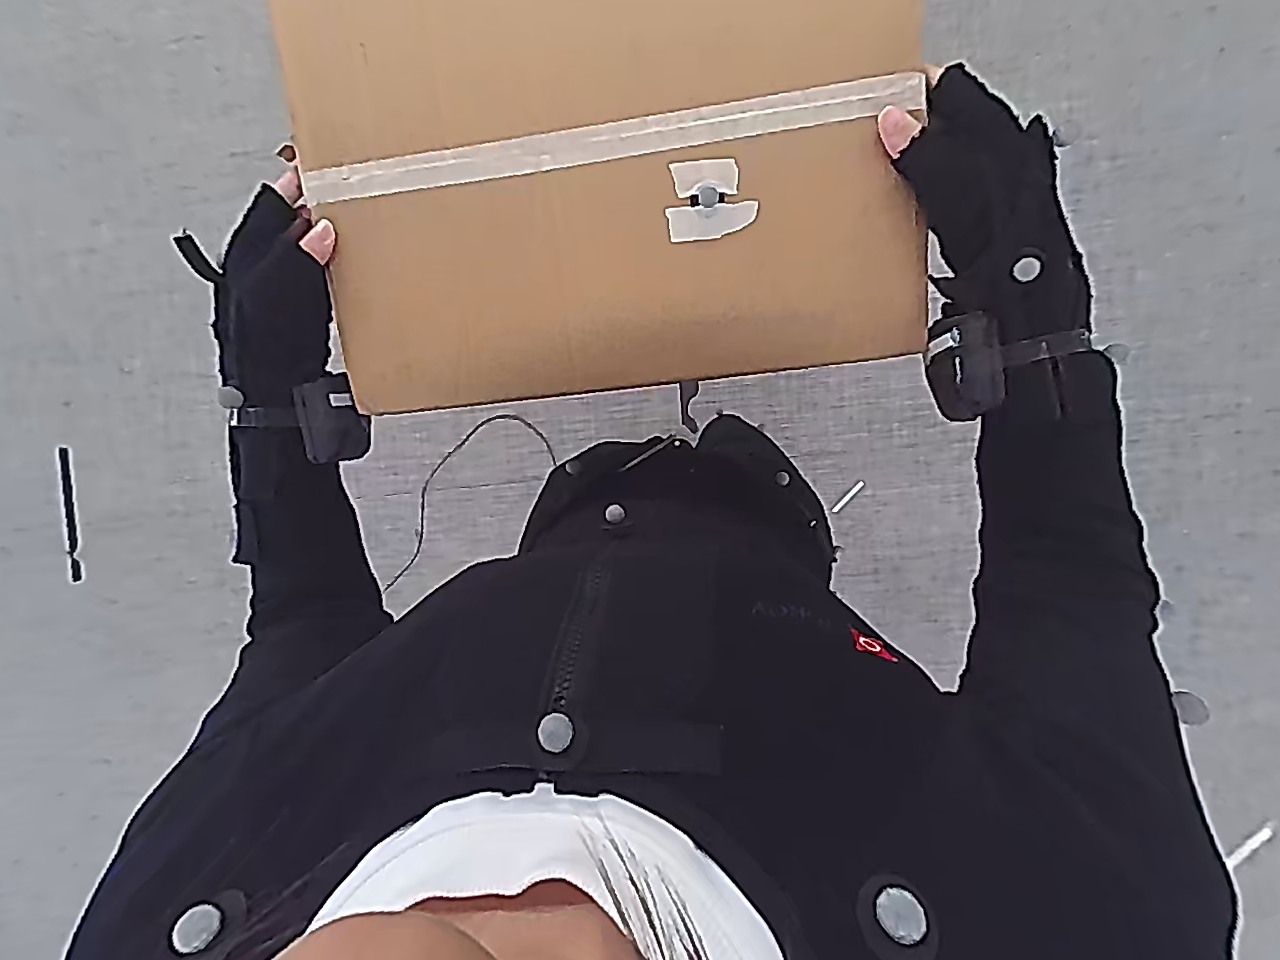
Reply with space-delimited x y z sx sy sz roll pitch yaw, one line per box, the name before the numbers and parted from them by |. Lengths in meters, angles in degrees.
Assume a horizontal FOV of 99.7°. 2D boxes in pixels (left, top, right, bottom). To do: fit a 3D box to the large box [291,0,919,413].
large box | -0.014 -0.252 0.512 0.408 0.320 0.320 -6 102 5
